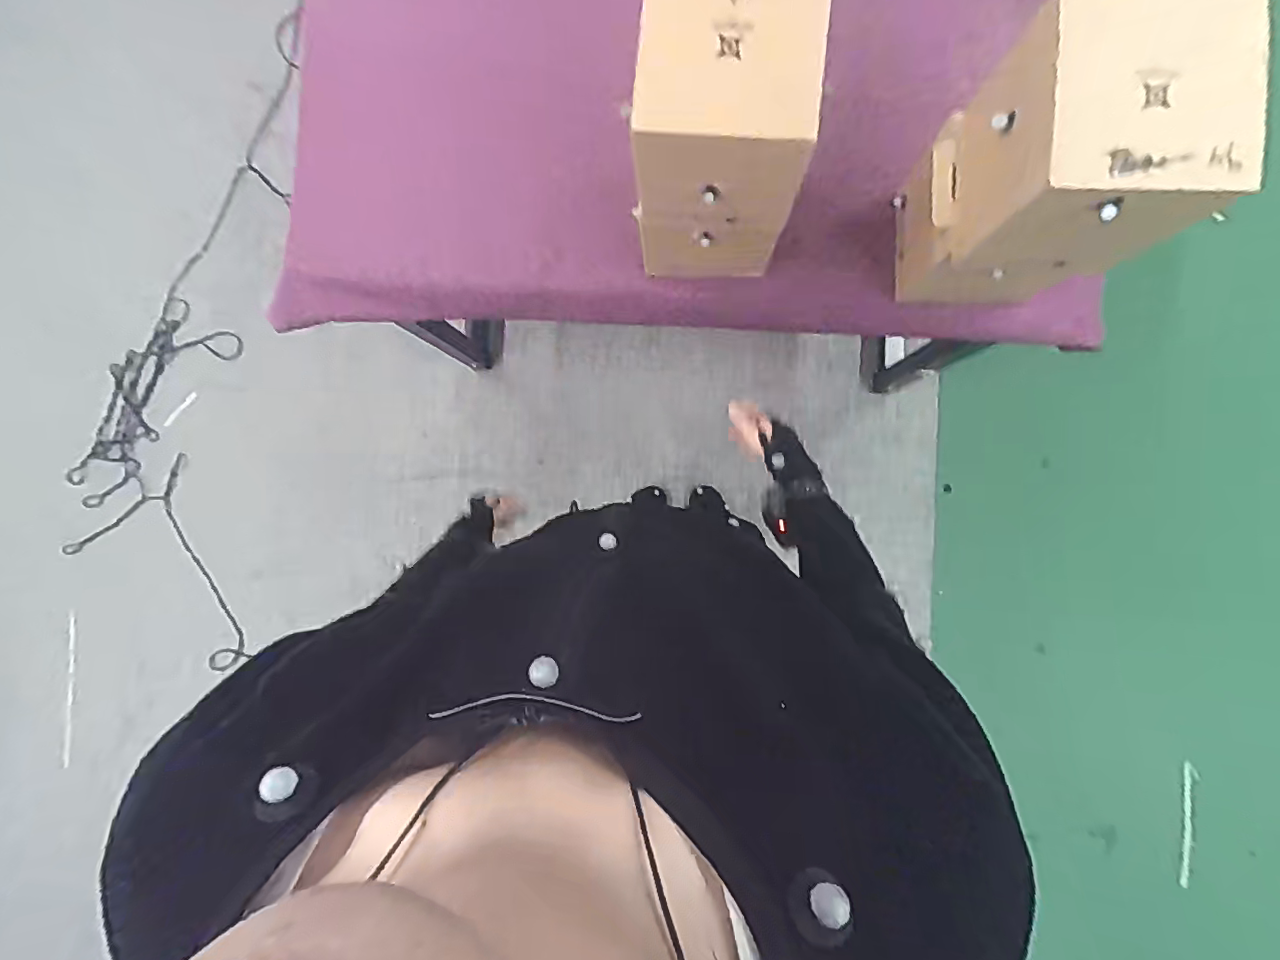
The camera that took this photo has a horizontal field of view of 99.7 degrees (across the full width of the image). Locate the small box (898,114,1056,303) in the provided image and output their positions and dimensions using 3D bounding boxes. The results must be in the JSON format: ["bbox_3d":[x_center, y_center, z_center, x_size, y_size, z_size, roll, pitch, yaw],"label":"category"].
[{"bbox_3d":[0.451,-0.336,0.695,0.179,0.176,0.168,2,89,4],"label":"small box"}]

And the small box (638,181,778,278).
[{"bbox_3d":[0.096,-0.385,0.725,0.179,0.176,0.168,4,88,4],"label":"small box"}]

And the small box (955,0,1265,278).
[{"bbox_3d":[0.436,-0.322,0.531,0.168,0.176,0.179,4,88,5],"label":"small box"}]

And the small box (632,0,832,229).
[{"bbox_3d":[0.090,-0.385,0.561,0.168,0.176,0.179,7,89,4],"label":"small box"}]
